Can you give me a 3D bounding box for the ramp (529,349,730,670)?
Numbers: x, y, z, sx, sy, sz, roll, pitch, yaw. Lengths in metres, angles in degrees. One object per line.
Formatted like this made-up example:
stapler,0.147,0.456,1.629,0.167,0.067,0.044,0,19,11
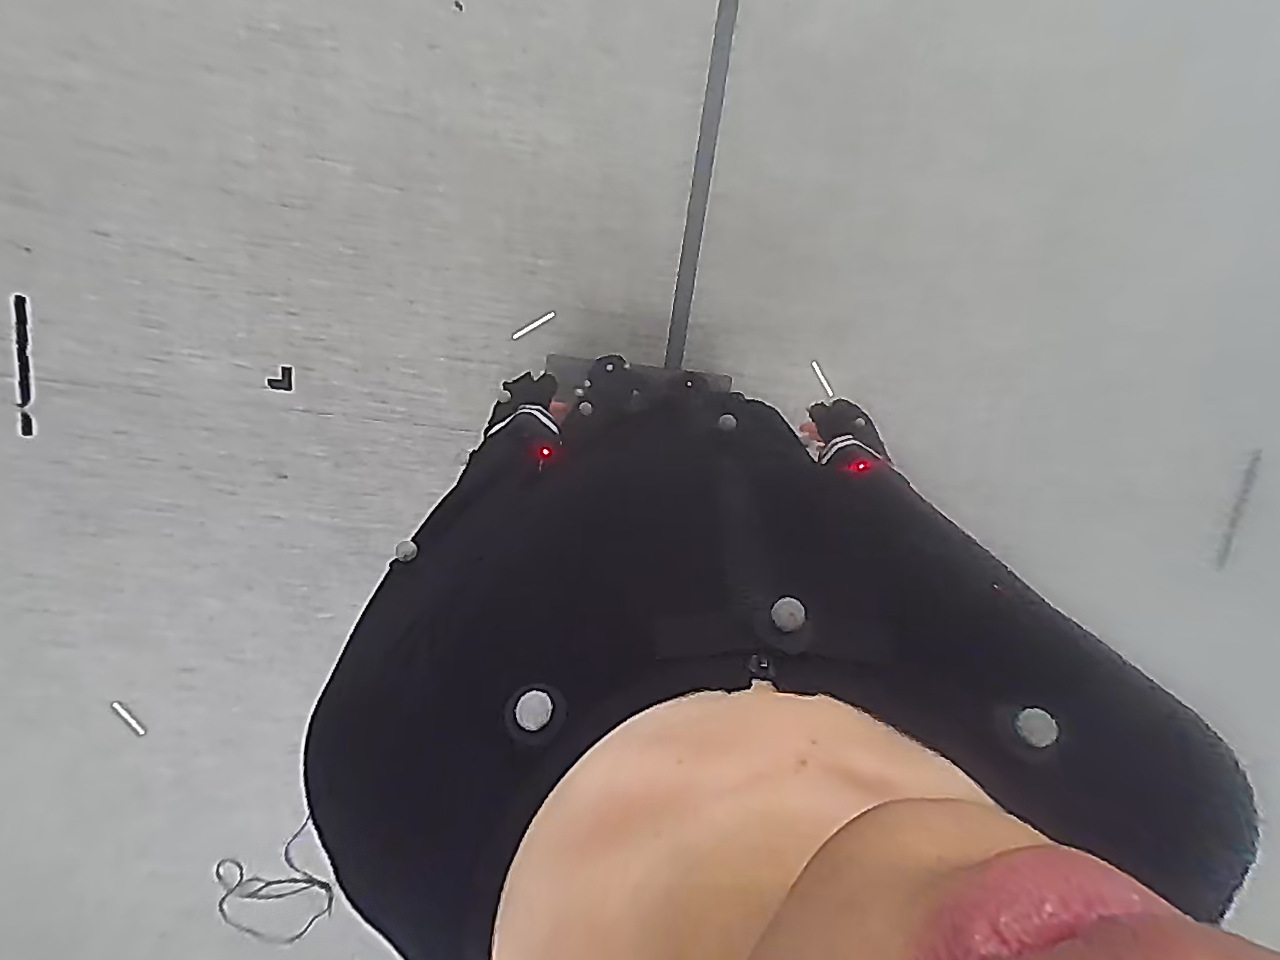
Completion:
ramp,-0.059,0.144,1.590,0.509,0.206,0.991,5,102,-3
